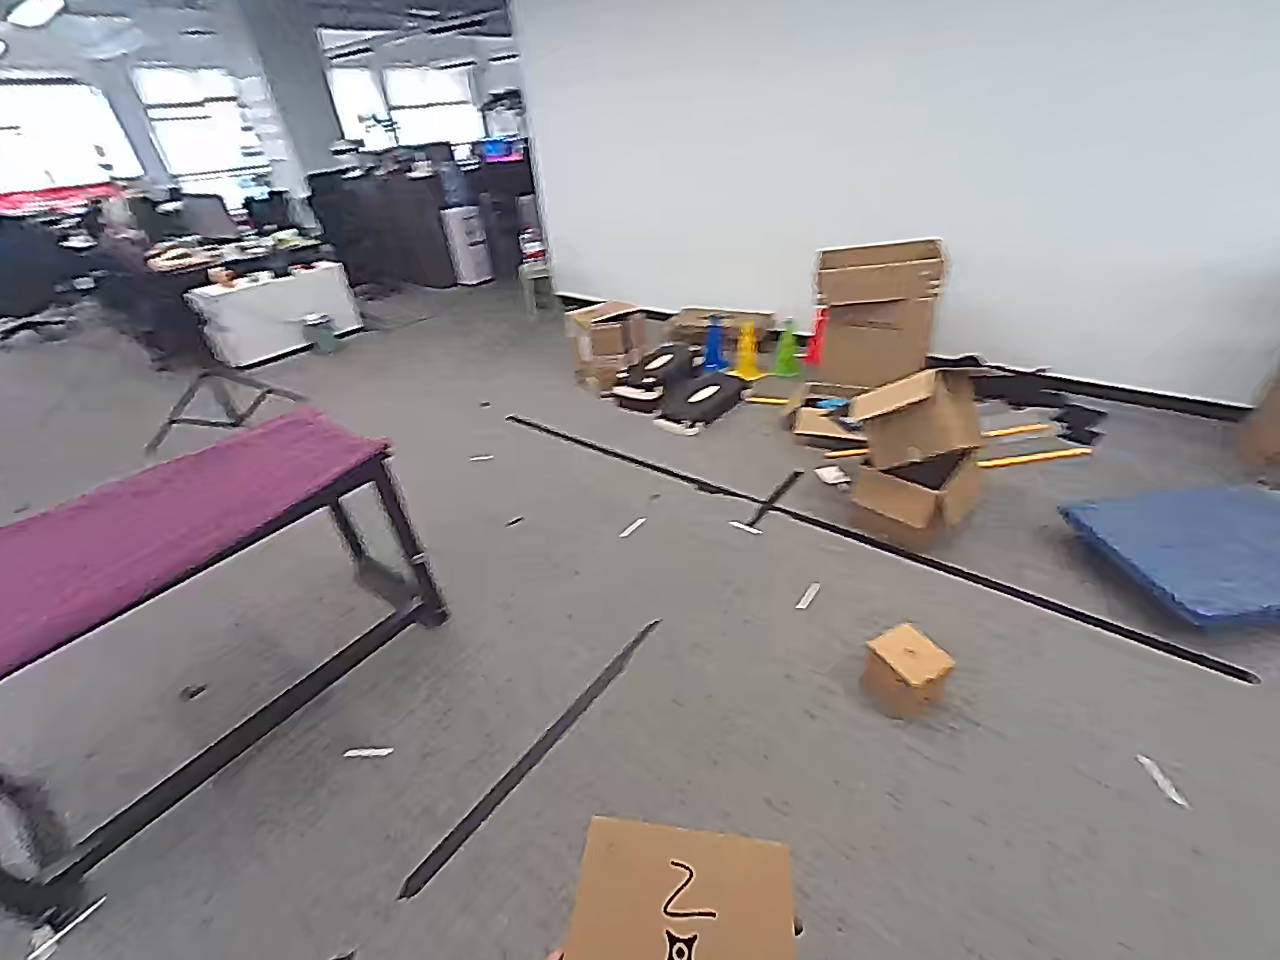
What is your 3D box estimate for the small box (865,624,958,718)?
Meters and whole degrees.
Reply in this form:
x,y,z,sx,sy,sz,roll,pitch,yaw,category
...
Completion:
x,y,z,sx,sy,sz,roll,pitch,yaw,category
0.814,0.579,1.641,0.168,0.176,0.179,-19,37,-20,small box
